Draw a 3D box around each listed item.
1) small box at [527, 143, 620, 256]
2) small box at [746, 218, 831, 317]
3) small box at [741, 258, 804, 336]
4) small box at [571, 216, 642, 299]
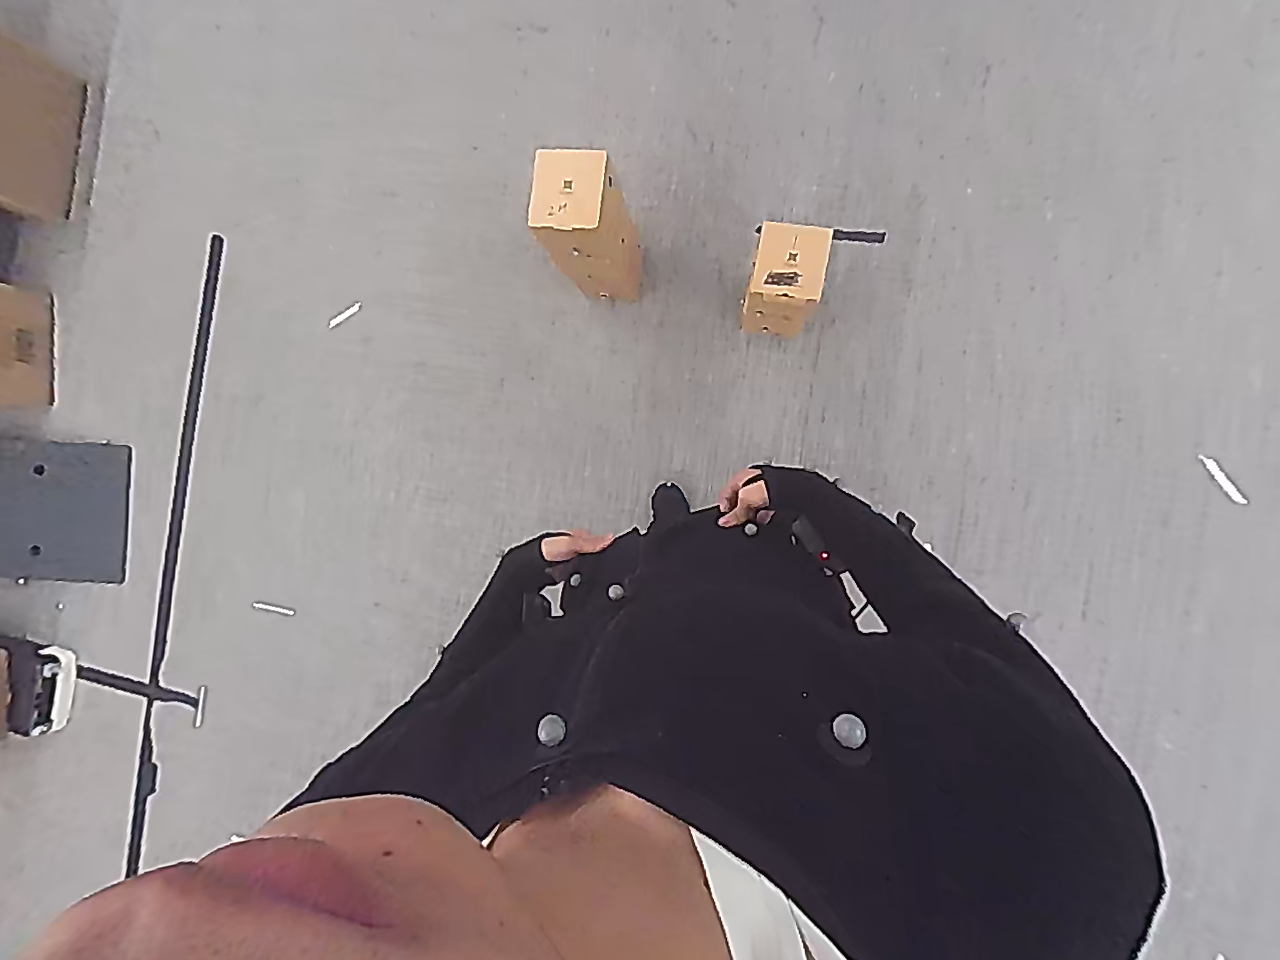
[{"bbox_3d":[-0.147,-0.647,1.259,0.168,0.176,0.179,7,91,10],"label":"small box"},{"bbox_3d":[0.363,-0.522,1.351,0.168,0.176,0.179,11,91,7],"label":"small box"},{"bbox_3d":[0.380,-0.522,1.515,0.168,0.176,0.179,12,92,8],"label":"small box"},{"bbox_3d":[-0.093,-0.650,1.582,0.168,0.176,0.179,7,90,9],"label":"small box"}]
